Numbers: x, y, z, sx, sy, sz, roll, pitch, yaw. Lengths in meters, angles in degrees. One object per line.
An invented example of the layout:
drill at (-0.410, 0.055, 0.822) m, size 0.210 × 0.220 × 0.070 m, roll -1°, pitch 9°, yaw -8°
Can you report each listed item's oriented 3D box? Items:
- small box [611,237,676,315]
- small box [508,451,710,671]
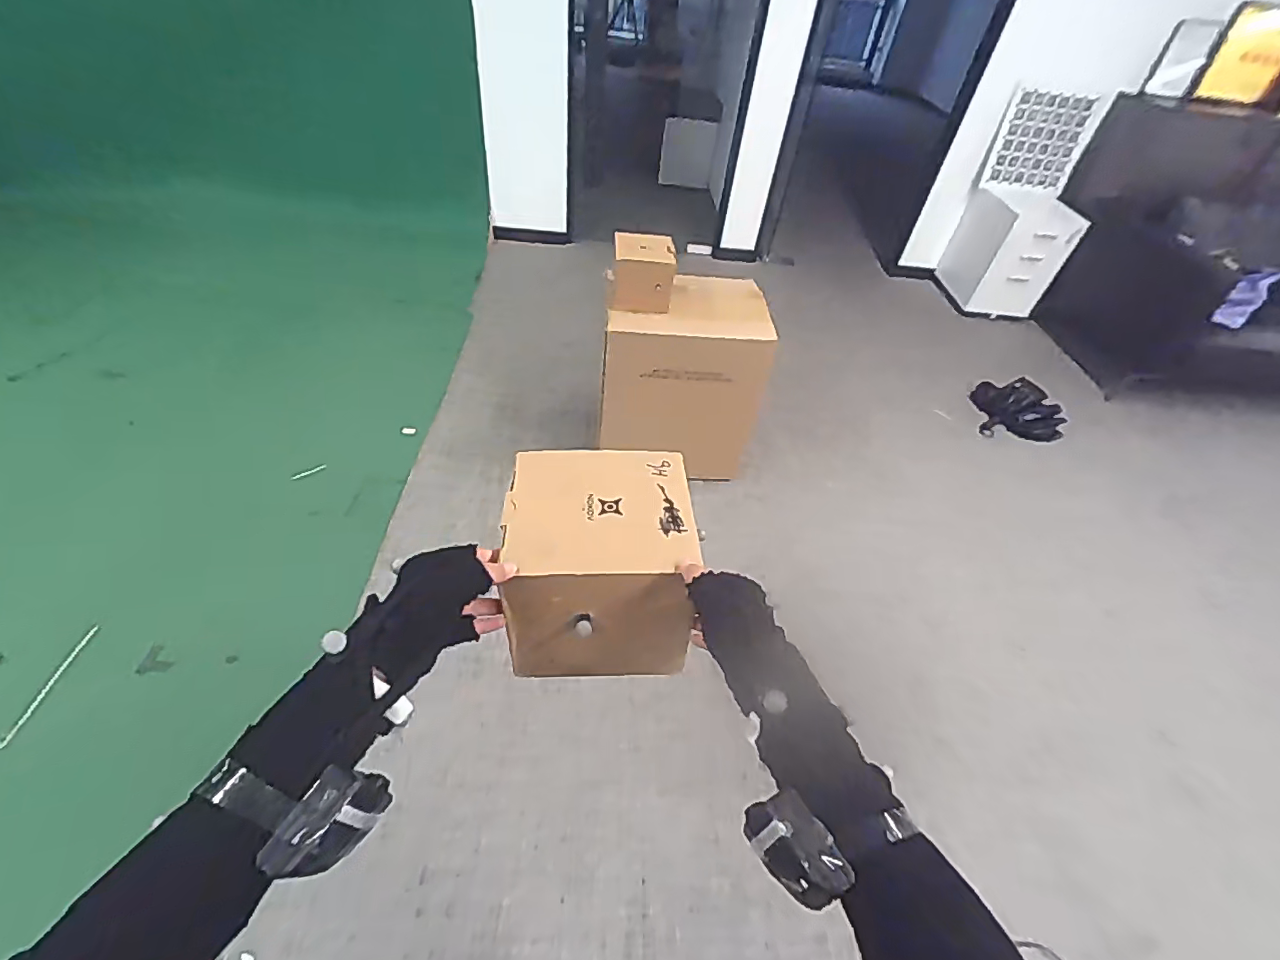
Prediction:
small box at (0.005, -0.625, 1.667) m, size 0.179 × 0.176 × 0.168 m, roll 0°, pitch 49°, yaw -6°
small box at (-0.032, 0.086, 0.569) m, size 0.179 × 0.176 × 0.168 m, roll 0°, pitch 41°, yaw -5°
